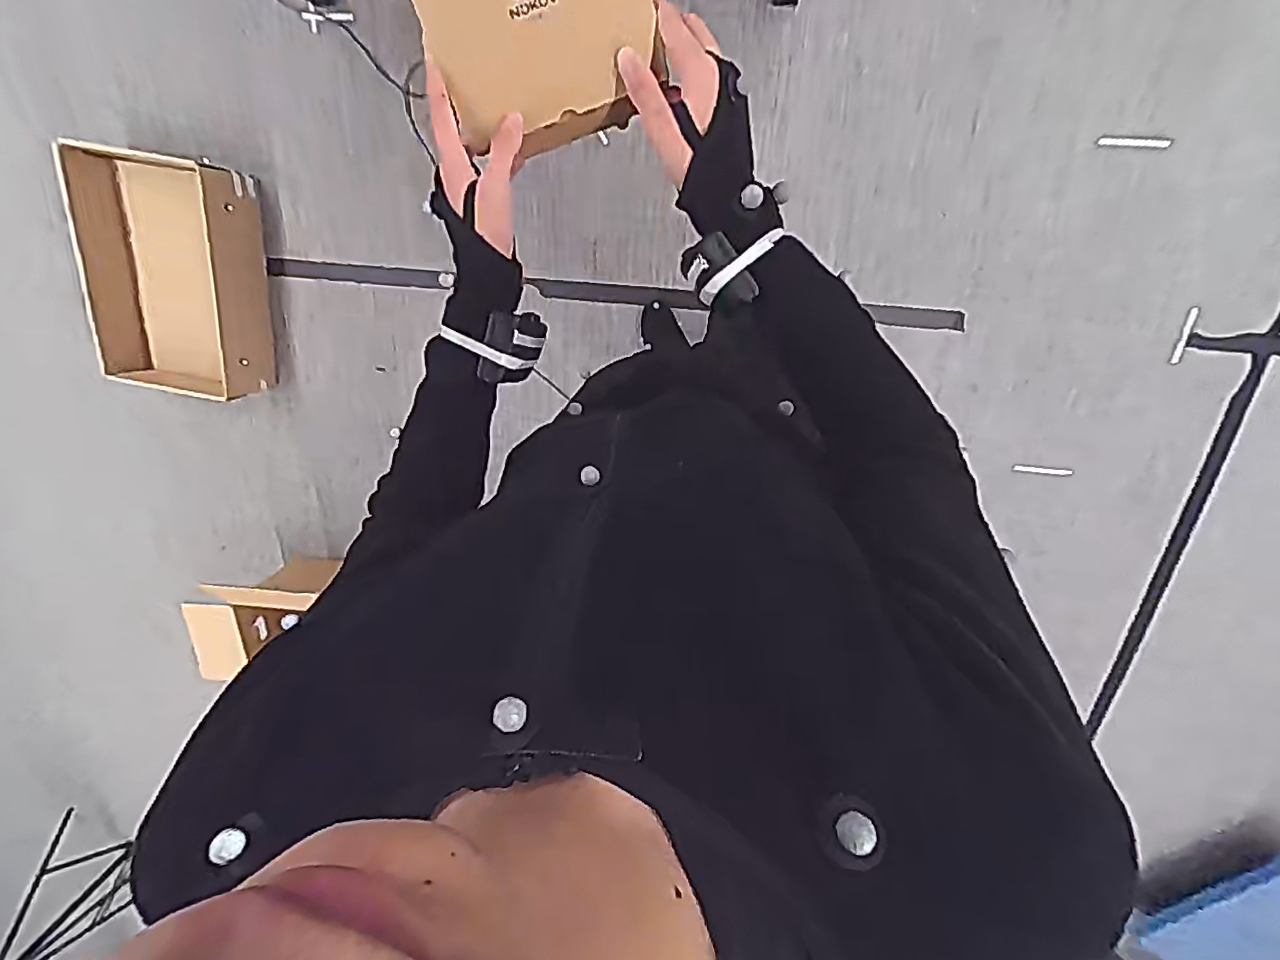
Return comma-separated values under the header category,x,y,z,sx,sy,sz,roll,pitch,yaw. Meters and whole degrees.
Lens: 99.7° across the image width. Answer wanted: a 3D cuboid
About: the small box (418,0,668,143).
category,x,y,z,sx,sy,sz,roll,pitch,yaw
small box,-0.075,-0.397,0.435,0.168,0.176,0.179,-13,121,10
